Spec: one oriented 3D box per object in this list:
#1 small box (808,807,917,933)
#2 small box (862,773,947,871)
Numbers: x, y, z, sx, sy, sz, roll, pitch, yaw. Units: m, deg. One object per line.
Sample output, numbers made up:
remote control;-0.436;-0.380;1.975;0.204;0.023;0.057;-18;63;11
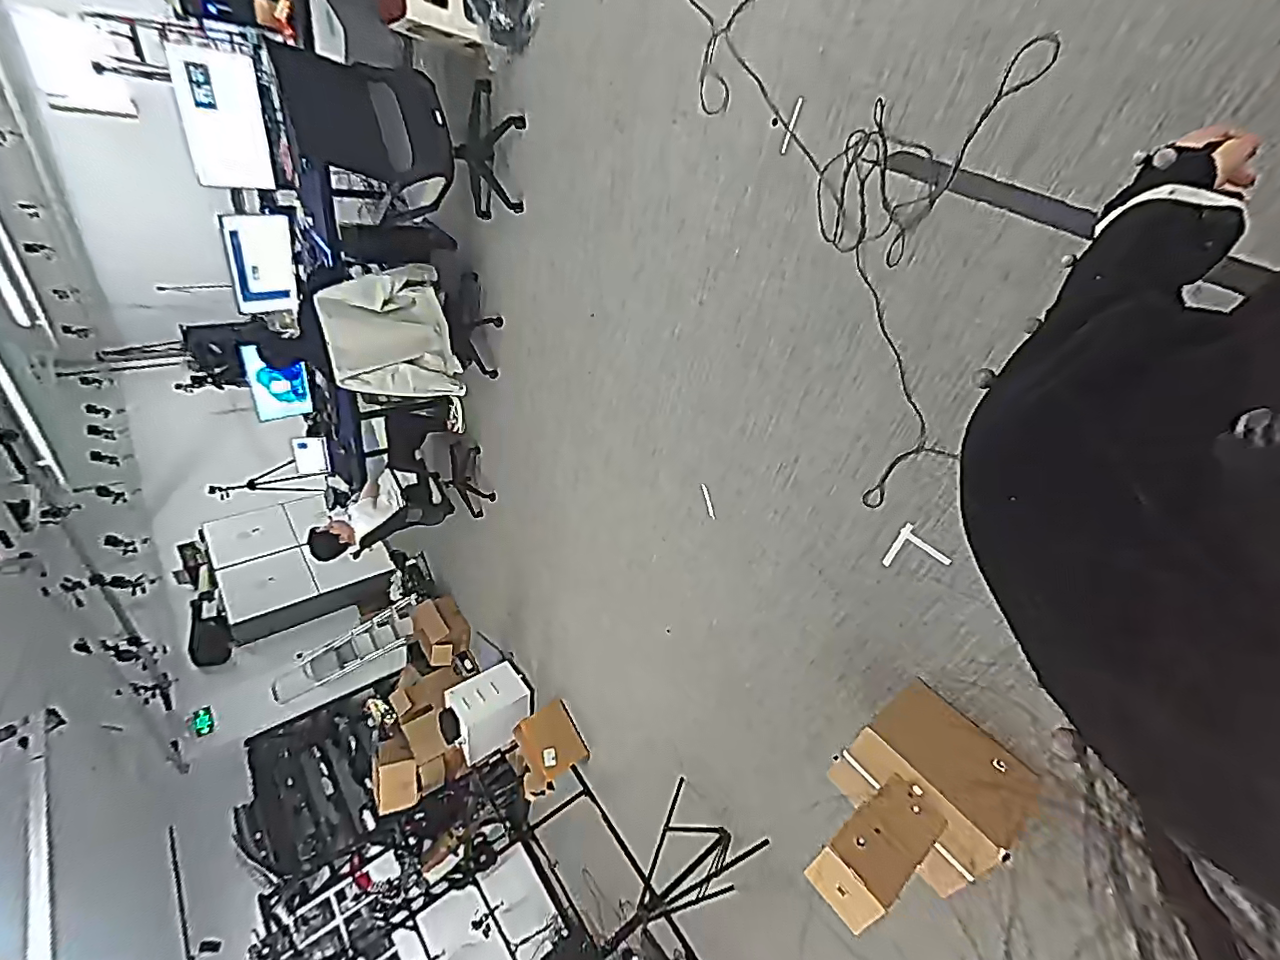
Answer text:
small box;0.563;0.974;1.363;0.168;0.176;0.179;41;135;36
small box;0.690;0.941;1.460;0.168;0.176;0.179;41;134;34
